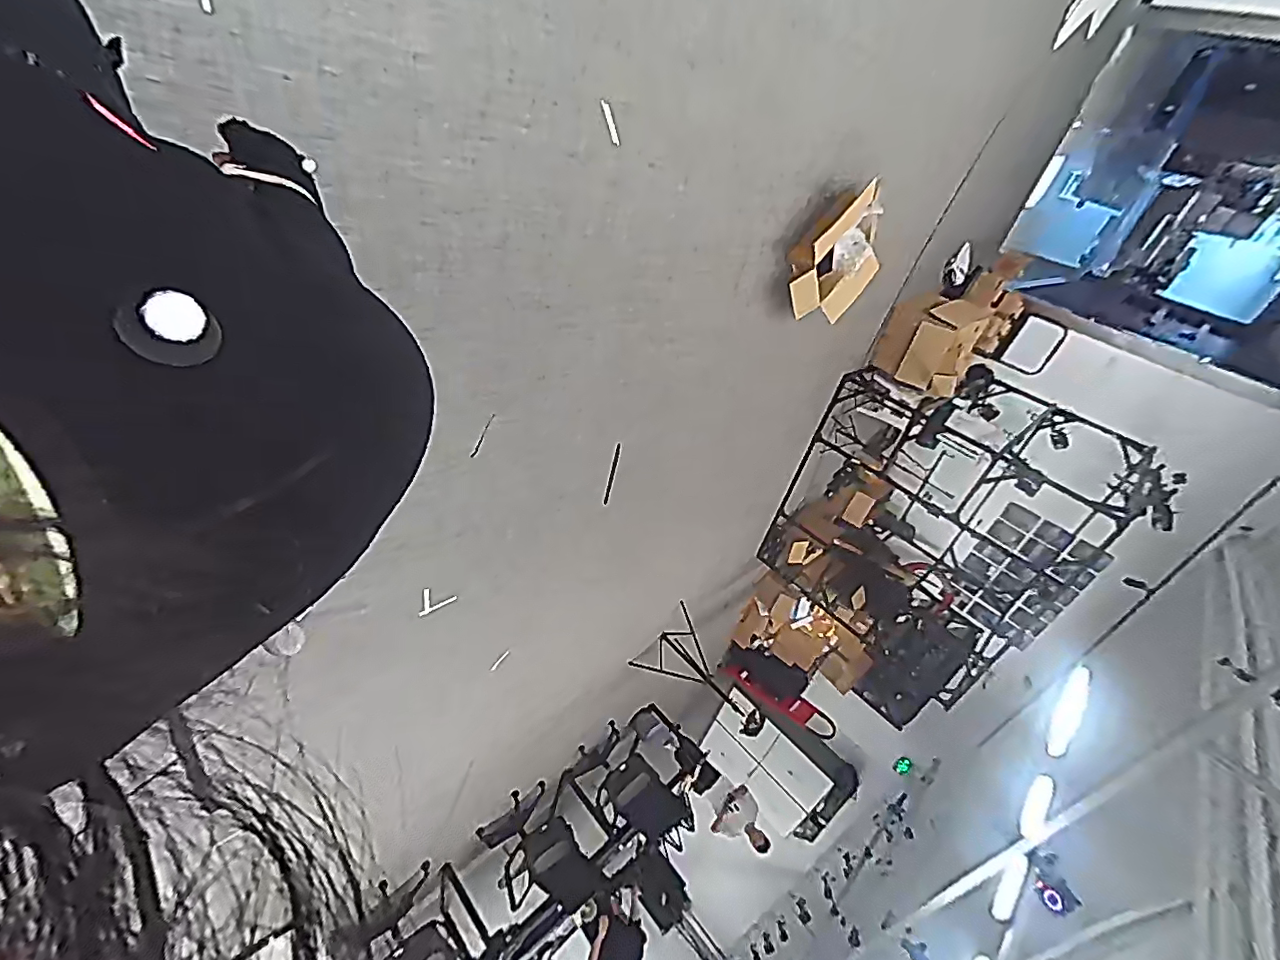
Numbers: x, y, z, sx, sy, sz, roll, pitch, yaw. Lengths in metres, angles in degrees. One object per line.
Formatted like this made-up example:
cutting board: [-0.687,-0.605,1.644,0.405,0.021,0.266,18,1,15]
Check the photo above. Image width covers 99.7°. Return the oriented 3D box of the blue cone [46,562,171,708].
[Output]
blue cone: [-1.238,0.398,1.302,0.193,0.380,0.192,-34,147,-26]
